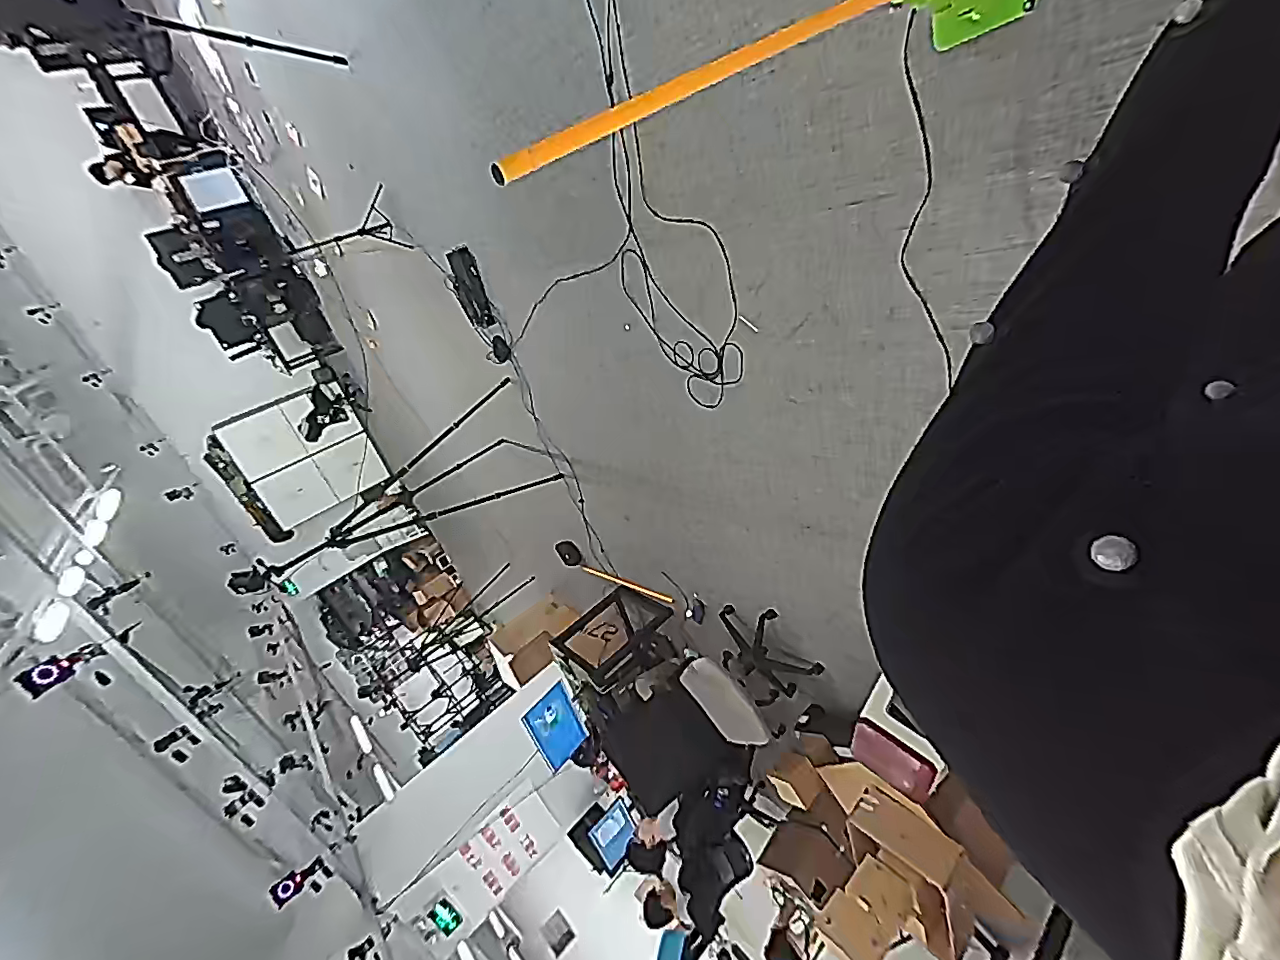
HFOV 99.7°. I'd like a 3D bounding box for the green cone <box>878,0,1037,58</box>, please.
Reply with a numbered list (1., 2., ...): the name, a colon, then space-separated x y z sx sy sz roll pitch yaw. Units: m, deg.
1. green cone: 0.577 -0.944 1.039 0.202 0.368 0.200 14 131 52
